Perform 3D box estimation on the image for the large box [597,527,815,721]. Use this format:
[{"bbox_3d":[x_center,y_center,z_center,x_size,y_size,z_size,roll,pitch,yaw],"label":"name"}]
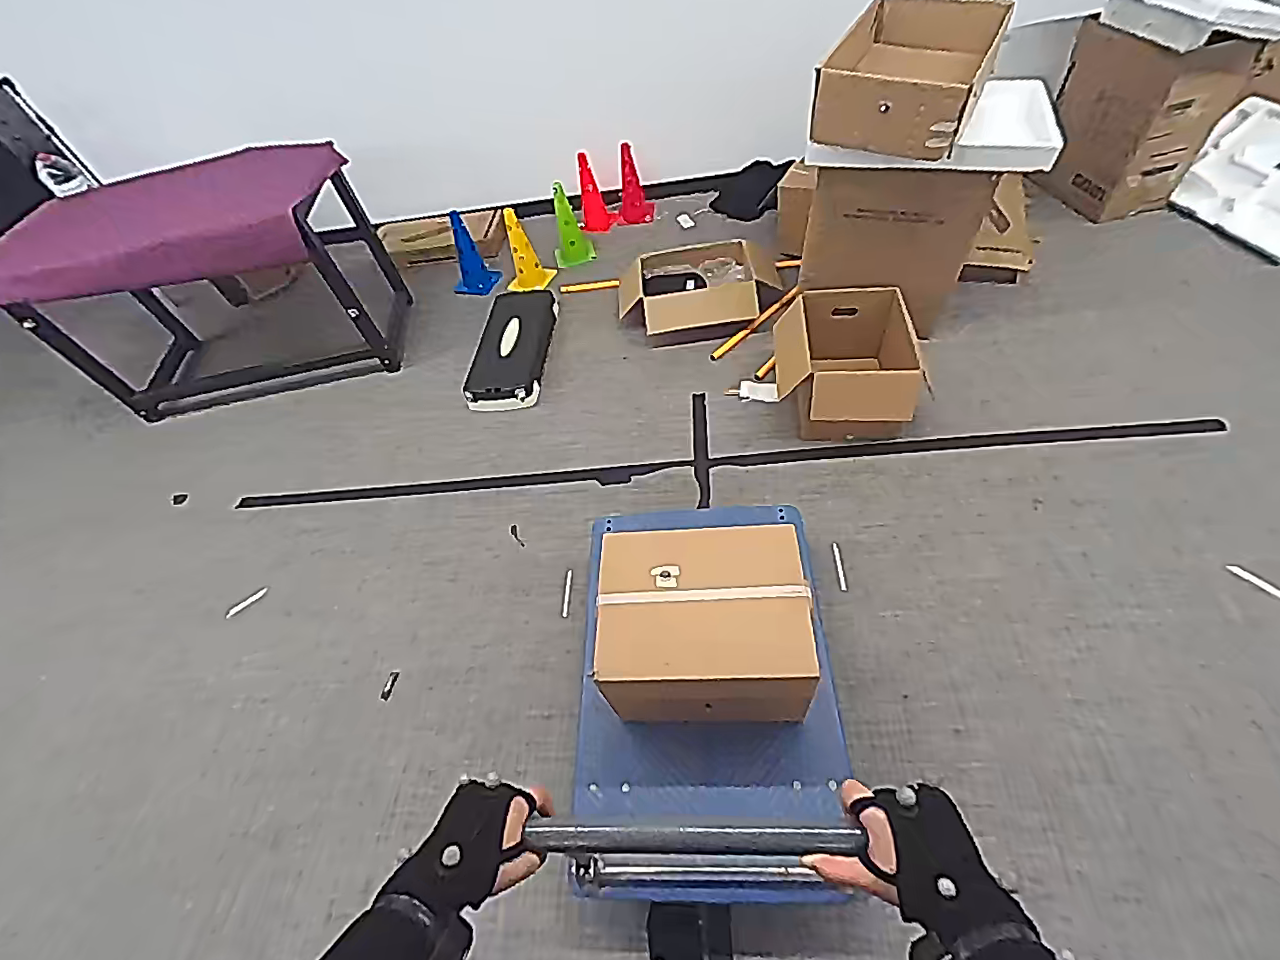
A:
[{"bbox_3d":[0.141,0.328,1.187,0.408,0.320,0.320,-5,52,8],"label":"large box"}]
